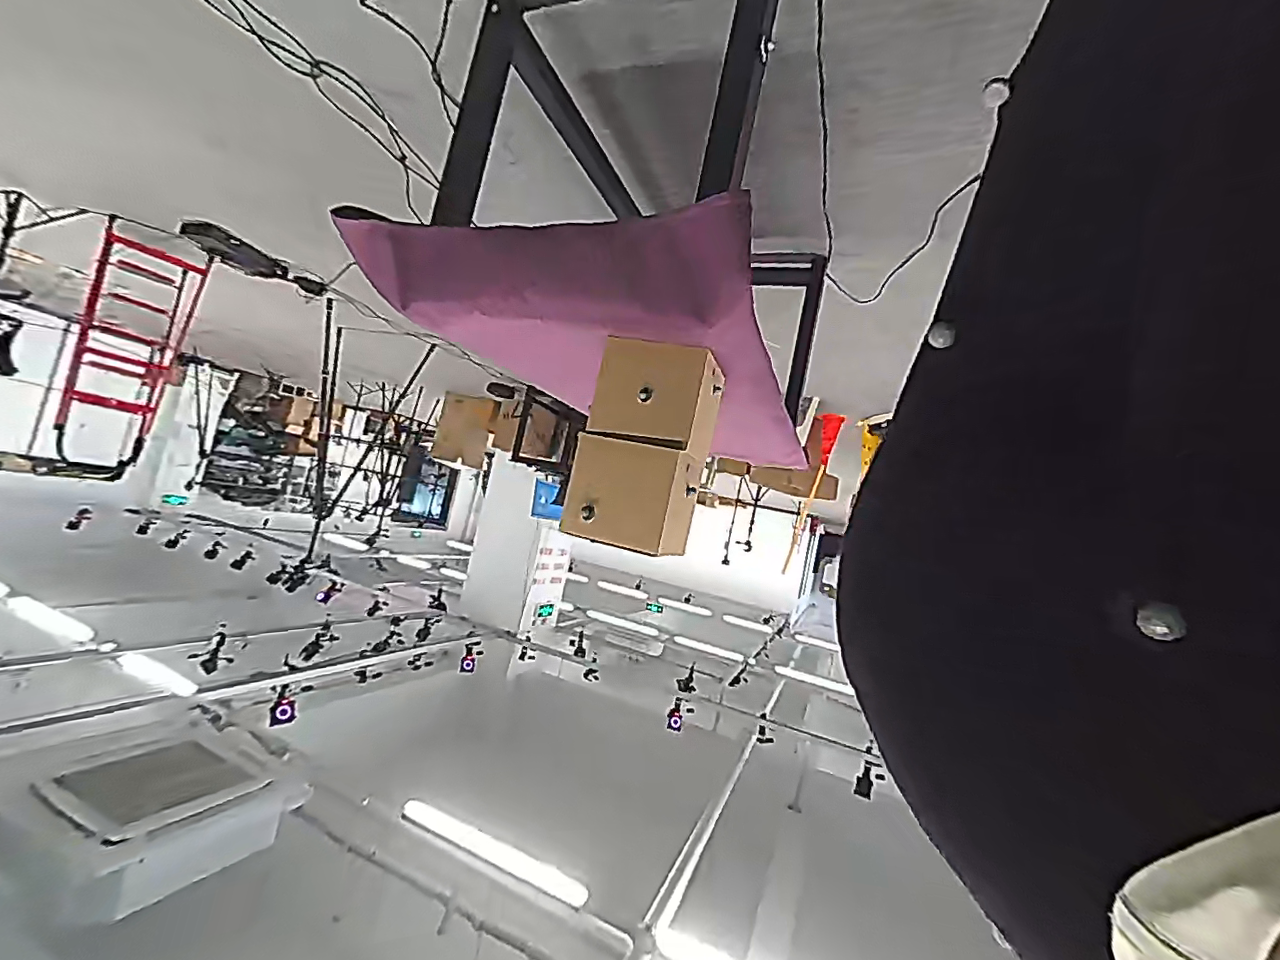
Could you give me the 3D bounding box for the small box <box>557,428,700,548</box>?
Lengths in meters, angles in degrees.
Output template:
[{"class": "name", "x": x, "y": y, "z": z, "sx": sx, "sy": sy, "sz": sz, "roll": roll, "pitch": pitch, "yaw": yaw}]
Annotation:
[{"class": "small box", "x": -0.013, "y": 0.014, "z": 0.915, "sx": 0.179, "sy": 0.176, "sz": 0.168, "roll": 11, "pitch": 178, "yaw": 20}]
